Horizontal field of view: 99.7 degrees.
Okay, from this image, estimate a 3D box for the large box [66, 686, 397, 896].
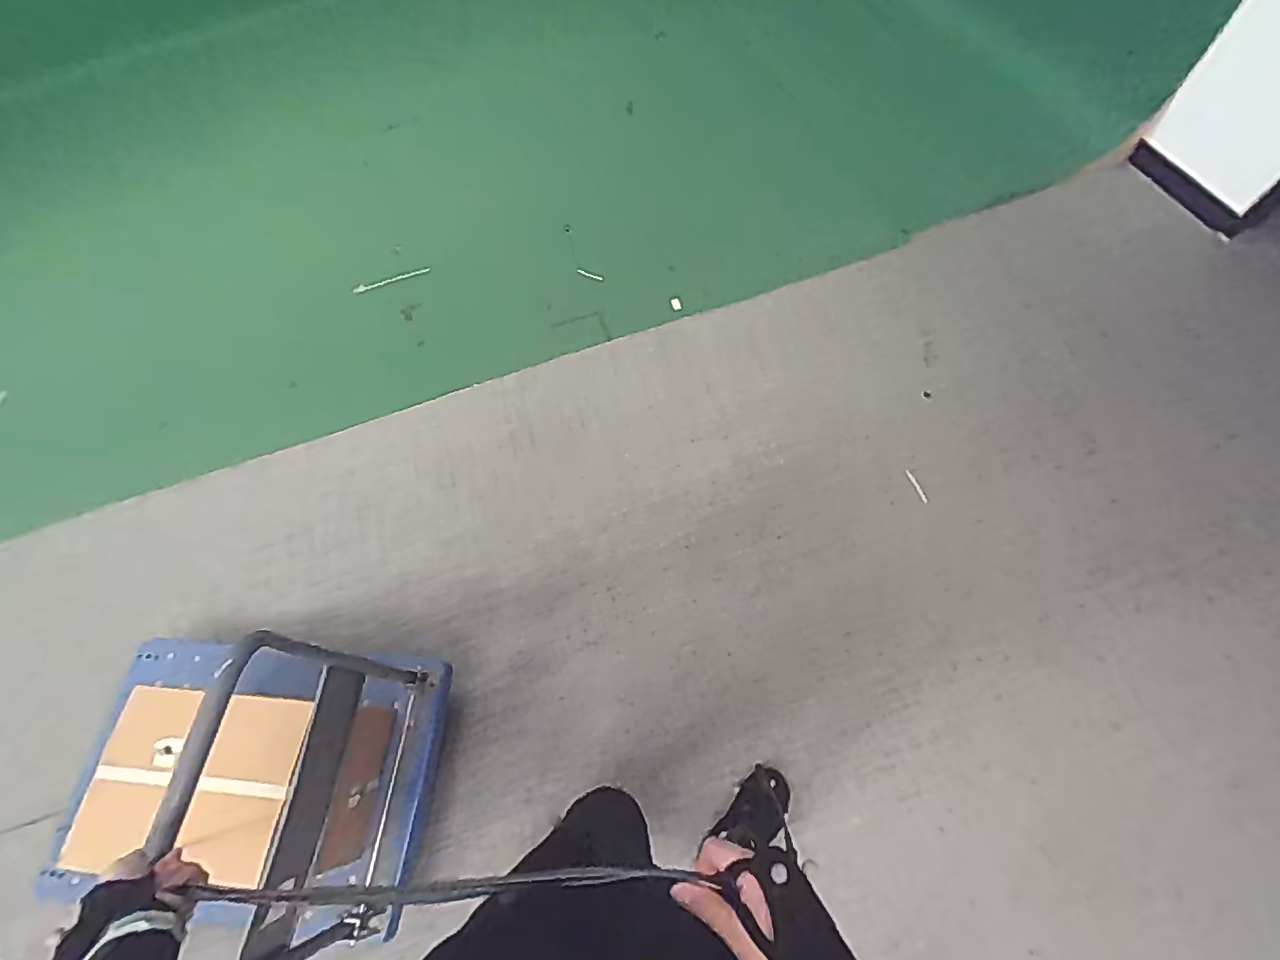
[{"bbox_3d":[-0.800,0.620,1.132,0.408,0.320,0.320,2,65,8],"label":"large box"}]
